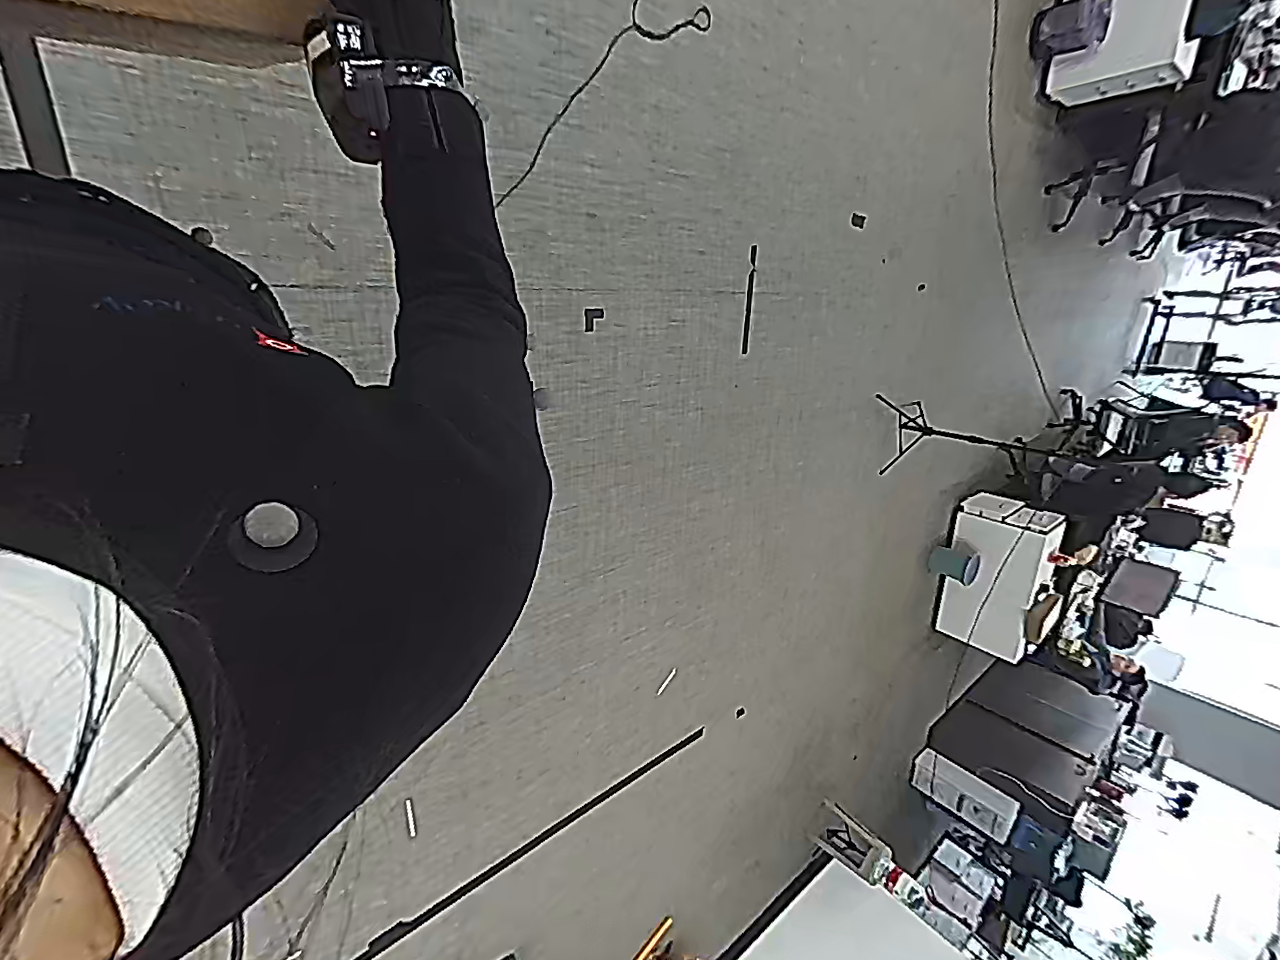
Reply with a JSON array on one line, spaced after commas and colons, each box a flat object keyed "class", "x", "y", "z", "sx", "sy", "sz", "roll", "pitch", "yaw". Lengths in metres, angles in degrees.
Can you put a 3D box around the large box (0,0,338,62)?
[{"class": "large box", "x": -0.436, "y": -0.432, "z": 0.264, "sx": 0.408, "sy": 0.320, "sz": 0.320, "roll": -20, "pitch": 130, "yaw": -36}]
